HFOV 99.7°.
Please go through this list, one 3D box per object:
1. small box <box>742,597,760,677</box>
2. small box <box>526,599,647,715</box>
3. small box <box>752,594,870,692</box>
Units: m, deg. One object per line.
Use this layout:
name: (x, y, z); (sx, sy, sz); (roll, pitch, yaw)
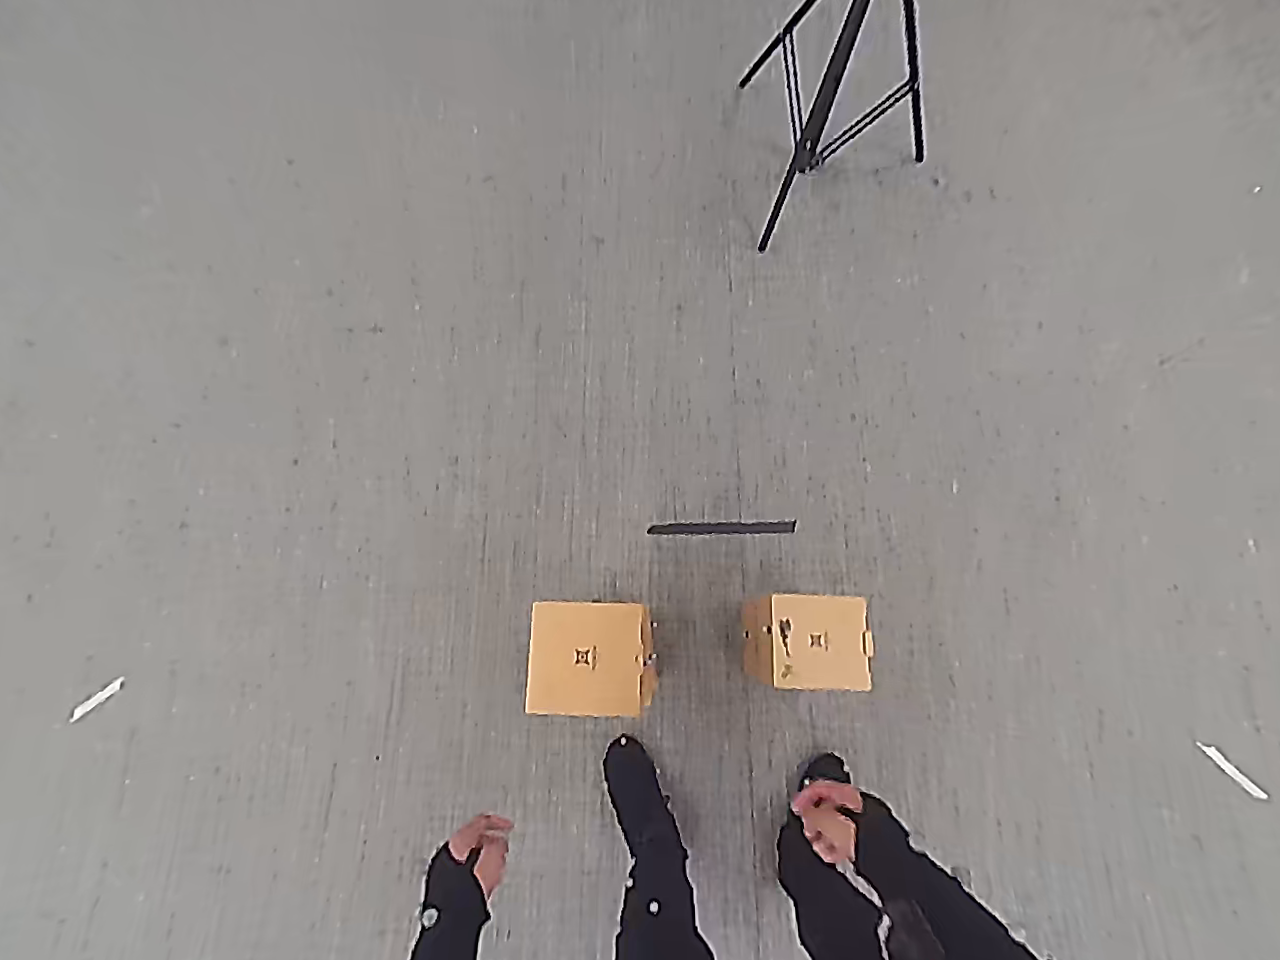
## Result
small box: (0.327, 0.354, 1.213); (0.179, 0.176, 0.168); (1, 76, 0)
small box: (-0.079, 0.289, 0.900); (0.179, 0.176, 0.168); (1, 76, 2)
small box: (0.325, 0.312, 1.054); (0.179, 0.176, 0.168); (3, 75, 0)
